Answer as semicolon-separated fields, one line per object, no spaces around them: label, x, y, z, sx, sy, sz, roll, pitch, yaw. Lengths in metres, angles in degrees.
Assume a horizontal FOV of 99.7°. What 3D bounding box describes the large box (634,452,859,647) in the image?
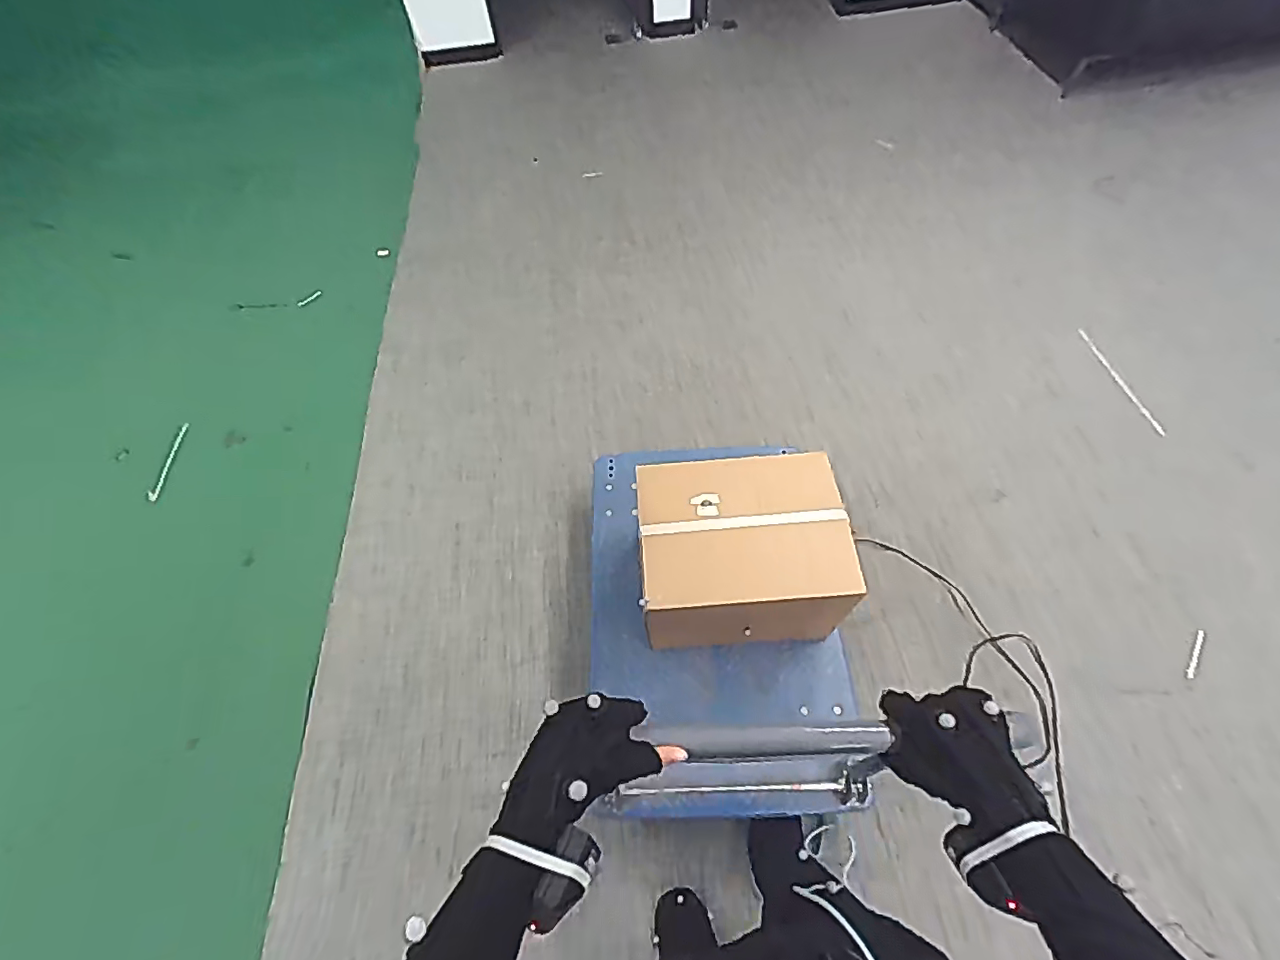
large box;0.209;0.168;1.202;0.408;0.320;0.320;-6;59;2
